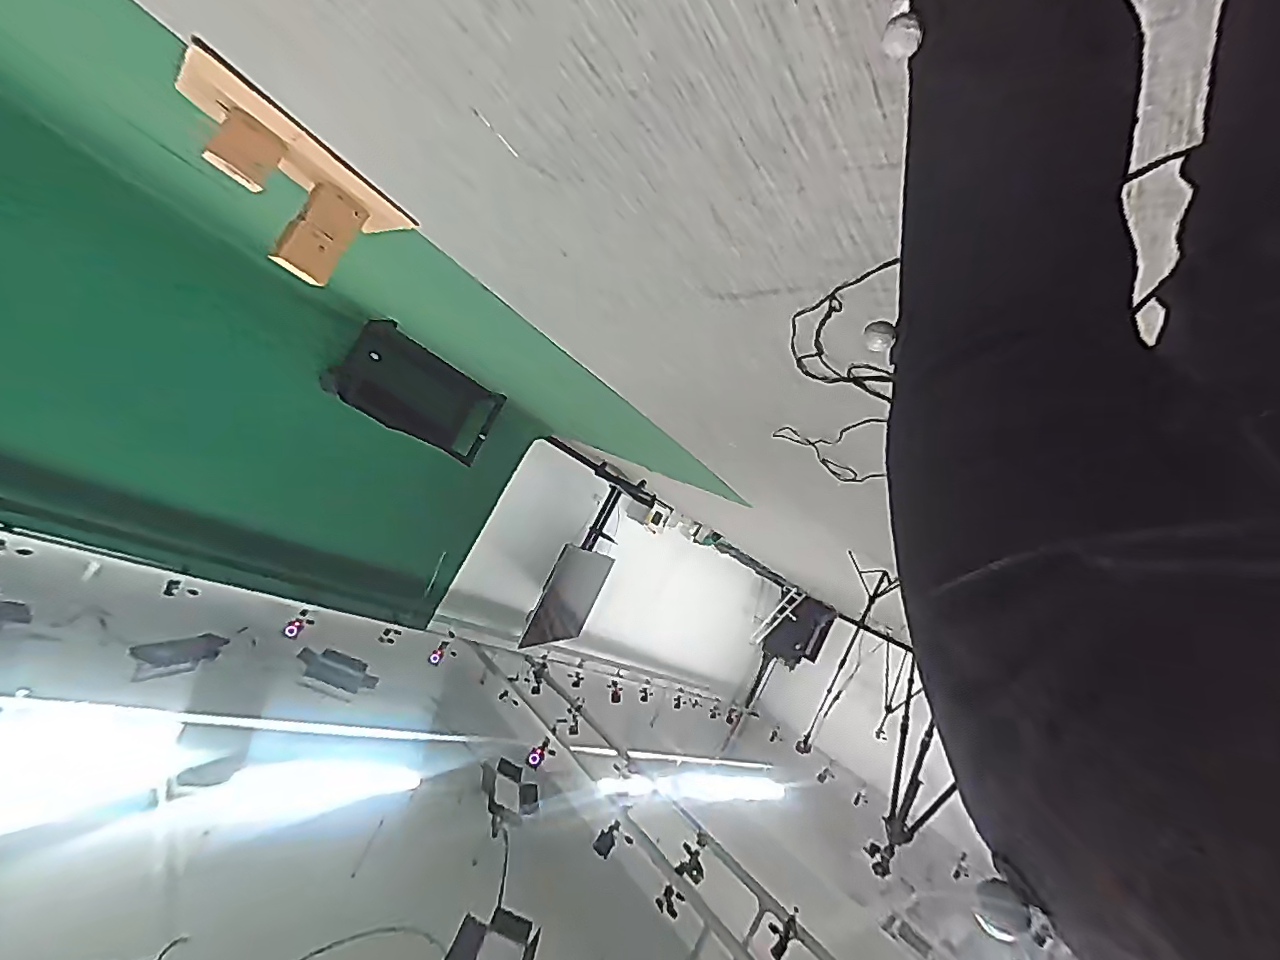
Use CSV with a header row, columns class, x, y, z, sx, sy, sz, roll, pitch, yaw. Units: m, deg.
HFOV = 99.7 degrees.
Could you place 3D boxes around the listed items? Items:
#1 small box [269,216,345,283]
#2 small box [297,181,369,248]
class,x,y,z,sx,sy,sz,roll,pitch,yaw
small box,-1.255,-0.874,2.045,0.179,0.176,0.168,23,172,41
small box,-1.167,-1.010,2.056,0.179,0.176,0.168,24,174,43
